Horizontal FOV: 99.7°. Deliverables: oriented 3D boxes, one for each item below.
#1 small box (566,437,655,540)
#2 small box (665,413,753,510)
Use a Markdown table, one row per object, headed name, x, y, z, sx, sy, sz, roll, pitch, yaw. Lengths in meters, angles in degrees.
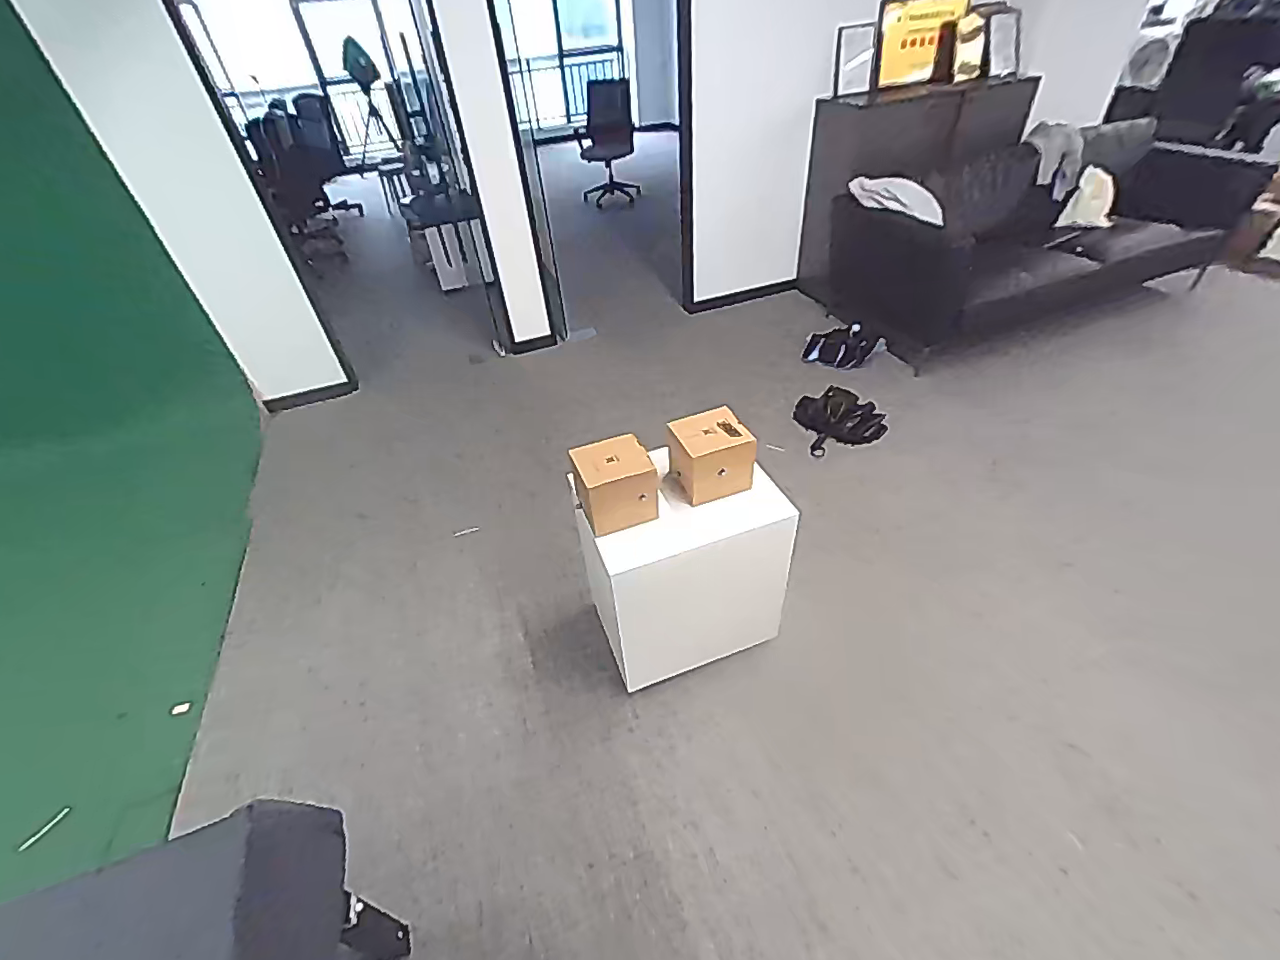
| name | x | y | z | sx | sy | sz | roll | pitch | yaw |
| --- | --- | --- | --- | --- | --- | --- | --- | --- | --- |
| small box | -0.073 | 0.022 | 1.354 | 0.179 | 0.176 | 0.168 | -17 | 41 | -16 |
| small box | 0.174 | -0.048 | 1.420 | 0.179 | 0.176 | 0.168 | -16 | 42 | -13 |
